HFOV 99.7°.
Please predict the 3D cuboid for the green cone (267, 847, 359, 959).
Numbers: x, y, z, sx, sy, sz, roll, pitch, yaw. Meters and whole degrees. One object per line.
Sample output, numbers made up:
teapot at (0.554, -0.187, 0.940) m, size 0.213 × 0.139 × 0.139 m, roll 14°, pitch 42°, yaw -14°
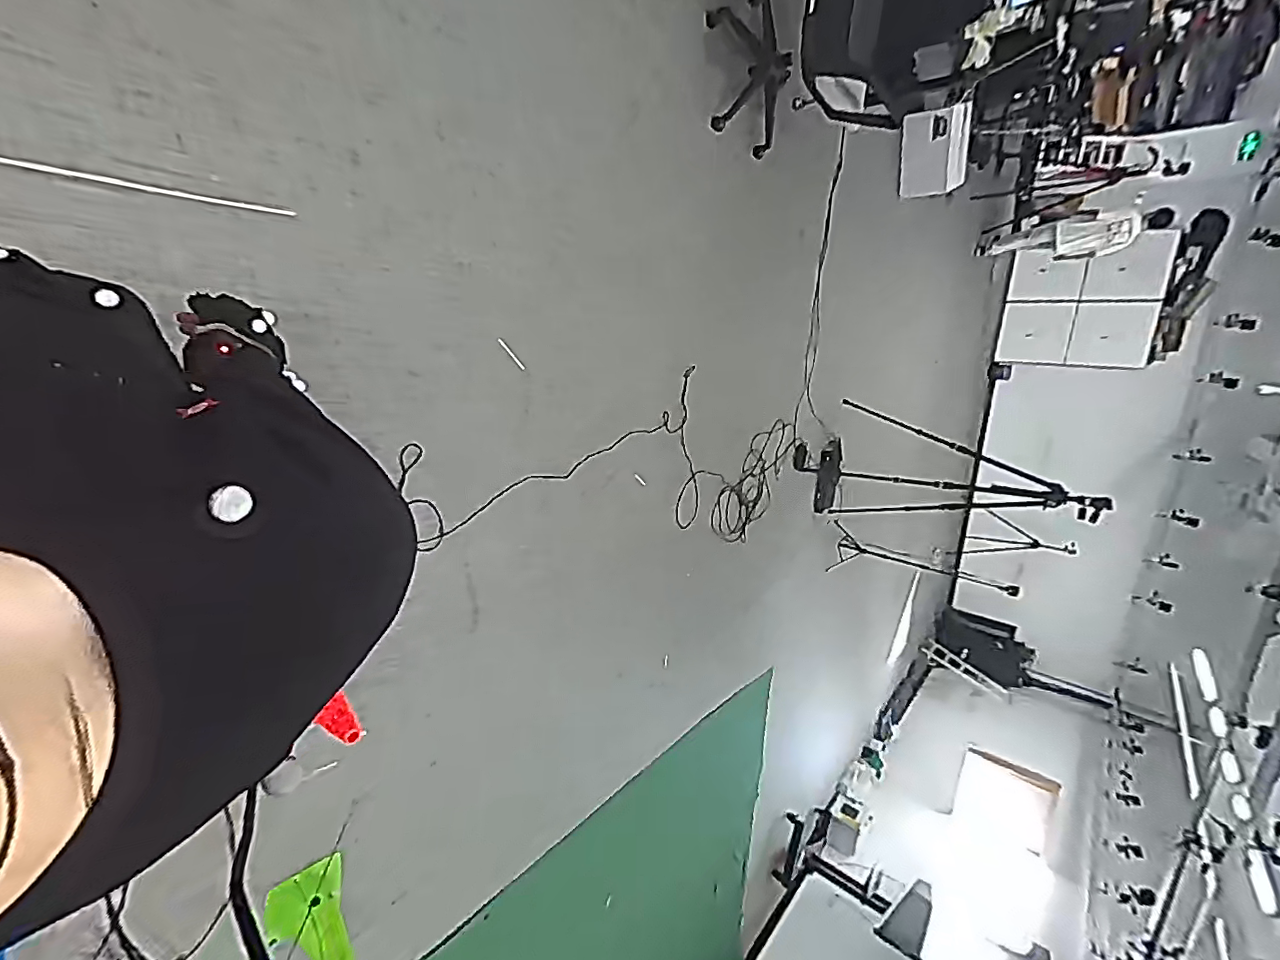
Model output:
green cone at (-0.871, 1.269, 1.521) m, size 0.200 × 0.368 × 0.202 m, roll -10°, pitch 108°, yaw -49°
